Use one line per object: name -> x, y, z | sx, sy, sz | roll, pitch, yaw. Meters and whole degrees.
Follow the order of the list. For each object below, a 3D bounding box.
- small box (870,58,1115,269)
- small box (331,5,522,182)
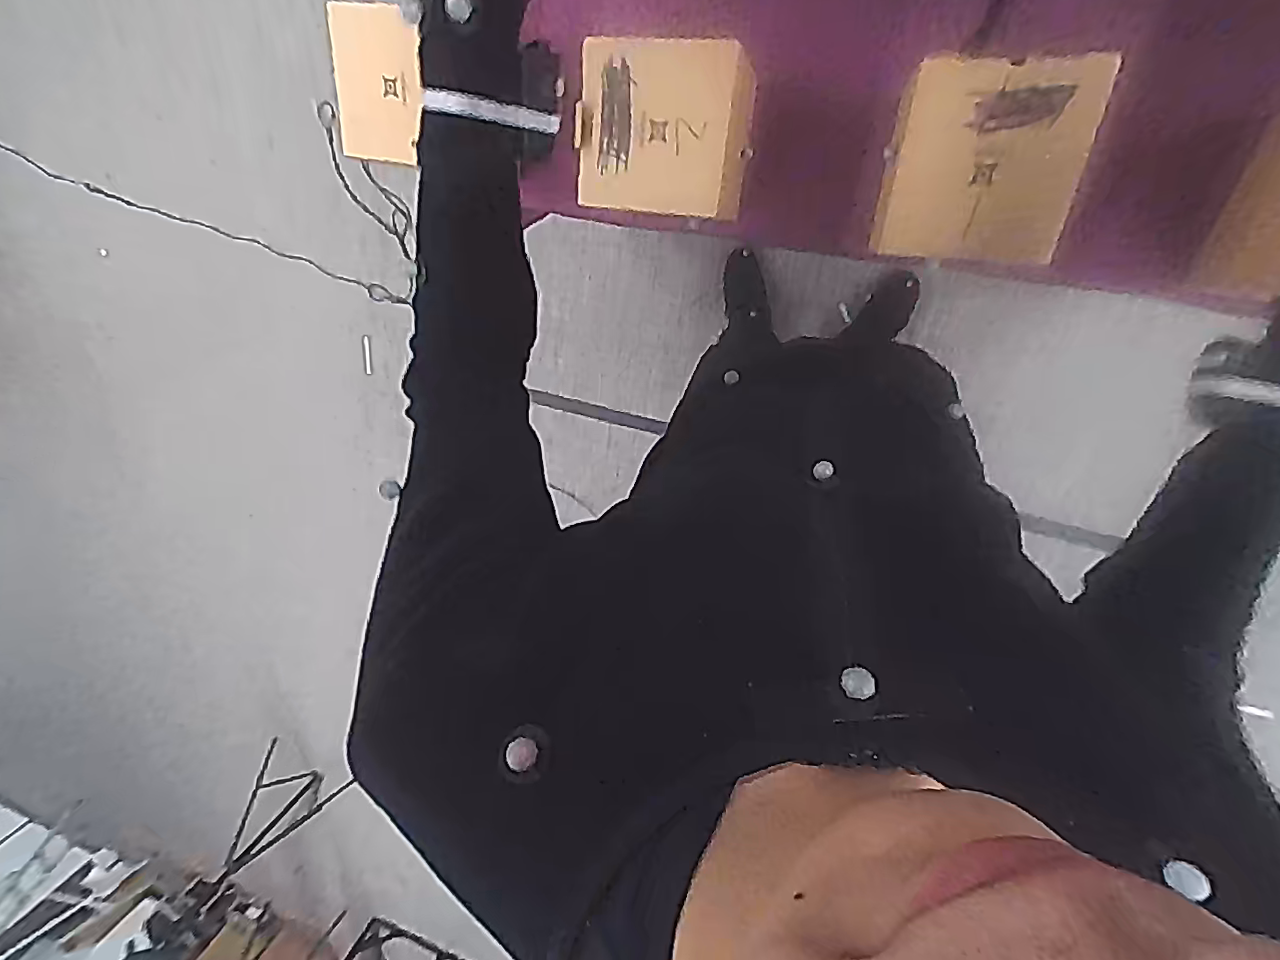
small box -> 0.363, -0.340, 0.603 | 0.168, 0.176, 0.179 | 11, 117, 14
small box -> -0.282, -0.516, 0.744 | 0.179, 0.176, 0.168 | 13, 117, 11
